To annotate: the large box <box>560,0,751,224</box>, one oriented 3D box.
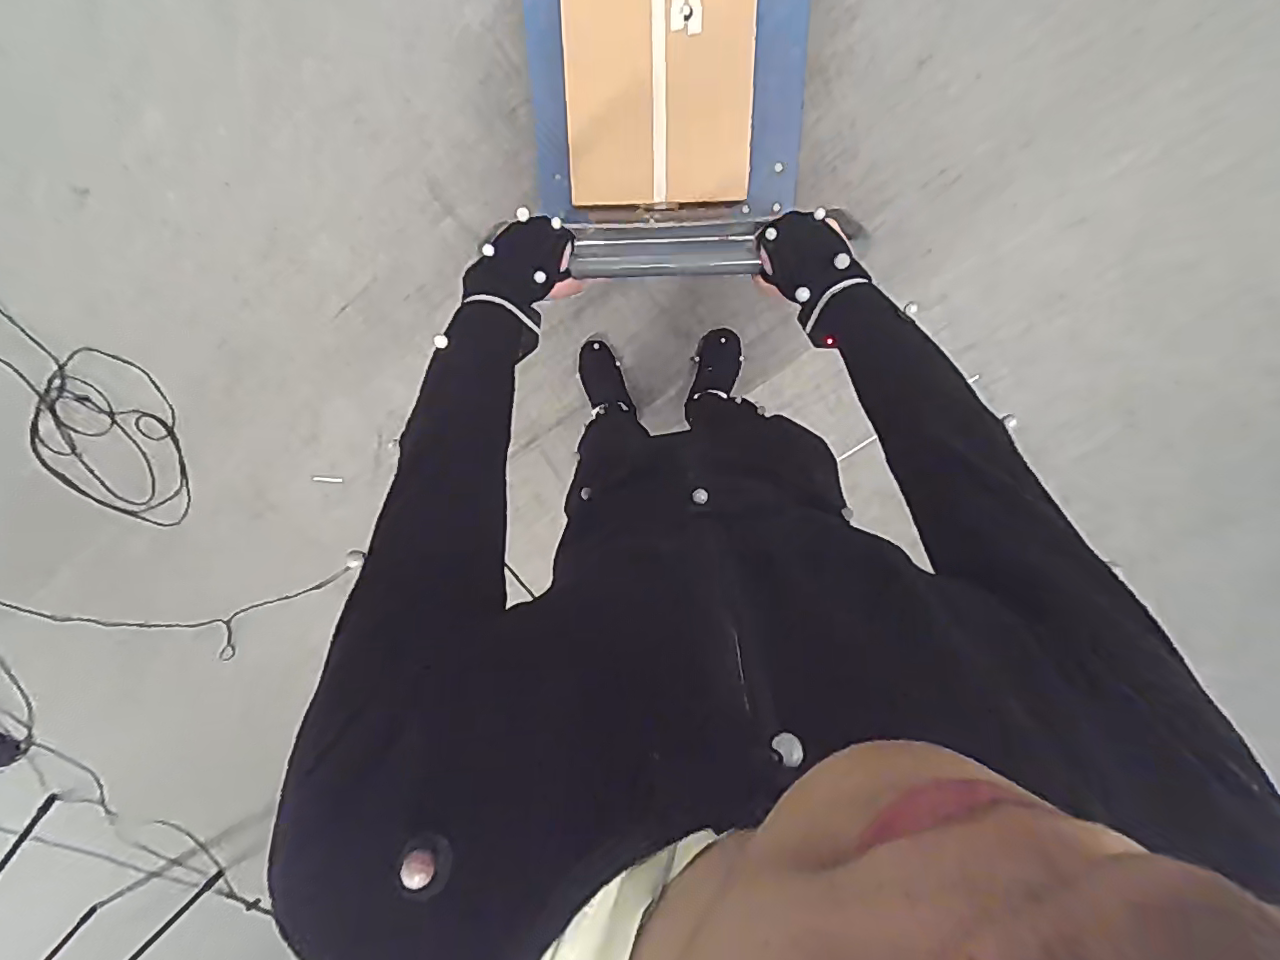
[{"bbox_3d":[0.037,-0.734,1.045,0.320,0.320,0.408,0,111,3],"label":"large box"}]
